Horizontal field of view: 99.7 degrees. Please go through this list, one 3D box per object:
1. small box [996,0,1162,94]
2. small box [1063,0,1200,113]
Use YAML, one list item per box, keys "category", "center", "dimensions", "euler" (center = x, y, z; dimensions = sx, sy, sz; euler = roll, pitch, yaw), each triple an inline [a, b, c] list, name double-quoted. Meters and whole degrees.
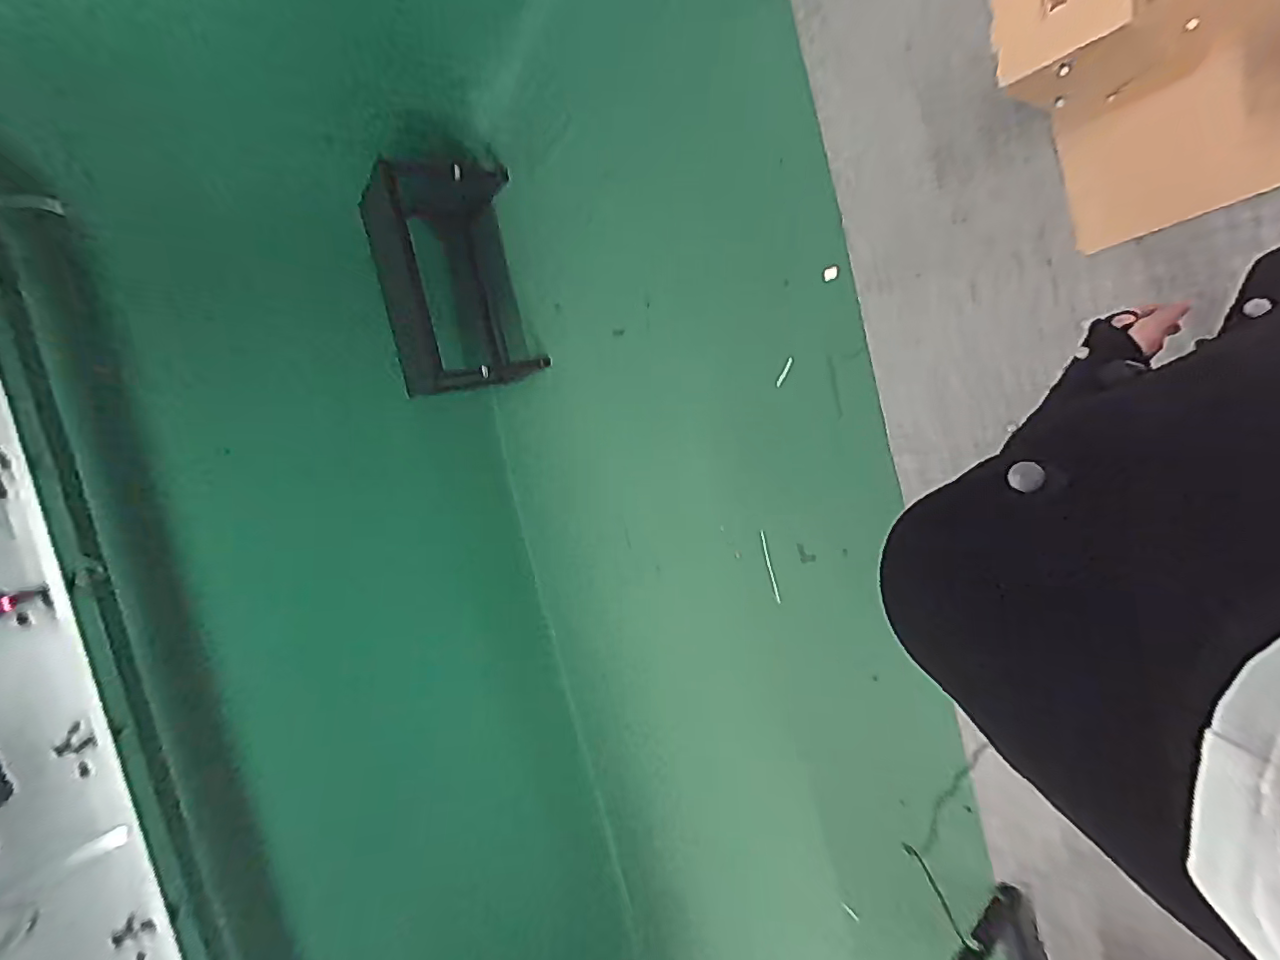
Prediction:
- category: "small box"
  center: [0.722, -0.778, 0.894]
  dimensions: [0.179, 0.176, 0.168]
  euler: [1, 105, 54]
- category: "small box"
  center: [0.975, -0.872, 1.080]
  dimensions: [0.179, 0.176, 0.168]
  euler: [-3, 102, 54]
